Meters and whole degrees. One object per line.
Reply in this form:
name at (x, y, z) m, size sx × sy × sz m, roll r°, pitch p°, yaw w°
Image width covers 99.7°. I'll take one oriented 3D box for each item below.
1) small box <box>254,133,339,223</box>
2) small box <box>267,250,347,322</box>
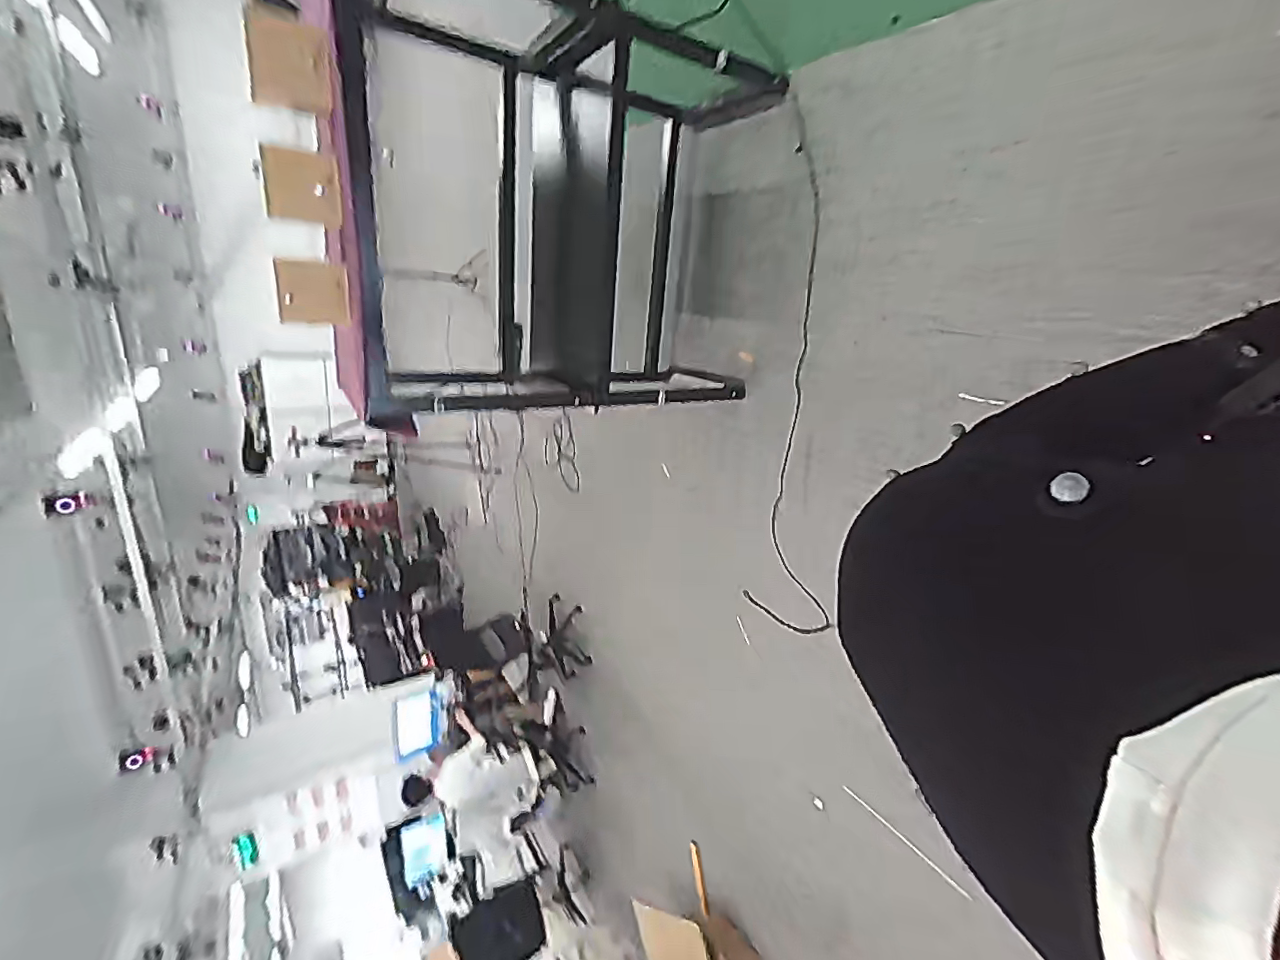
small box at (-0.875, -0.761, 1.383) m, size 0.179 × 0.176 × 0.168 m, roll 30°, pitch 121°, yaw 51°
small box at (-0.897, -0.521, 1.461) m, size 0.179 × 0.176 × 0.168 m, roll 30°, pitch 120°, yaw 53°
